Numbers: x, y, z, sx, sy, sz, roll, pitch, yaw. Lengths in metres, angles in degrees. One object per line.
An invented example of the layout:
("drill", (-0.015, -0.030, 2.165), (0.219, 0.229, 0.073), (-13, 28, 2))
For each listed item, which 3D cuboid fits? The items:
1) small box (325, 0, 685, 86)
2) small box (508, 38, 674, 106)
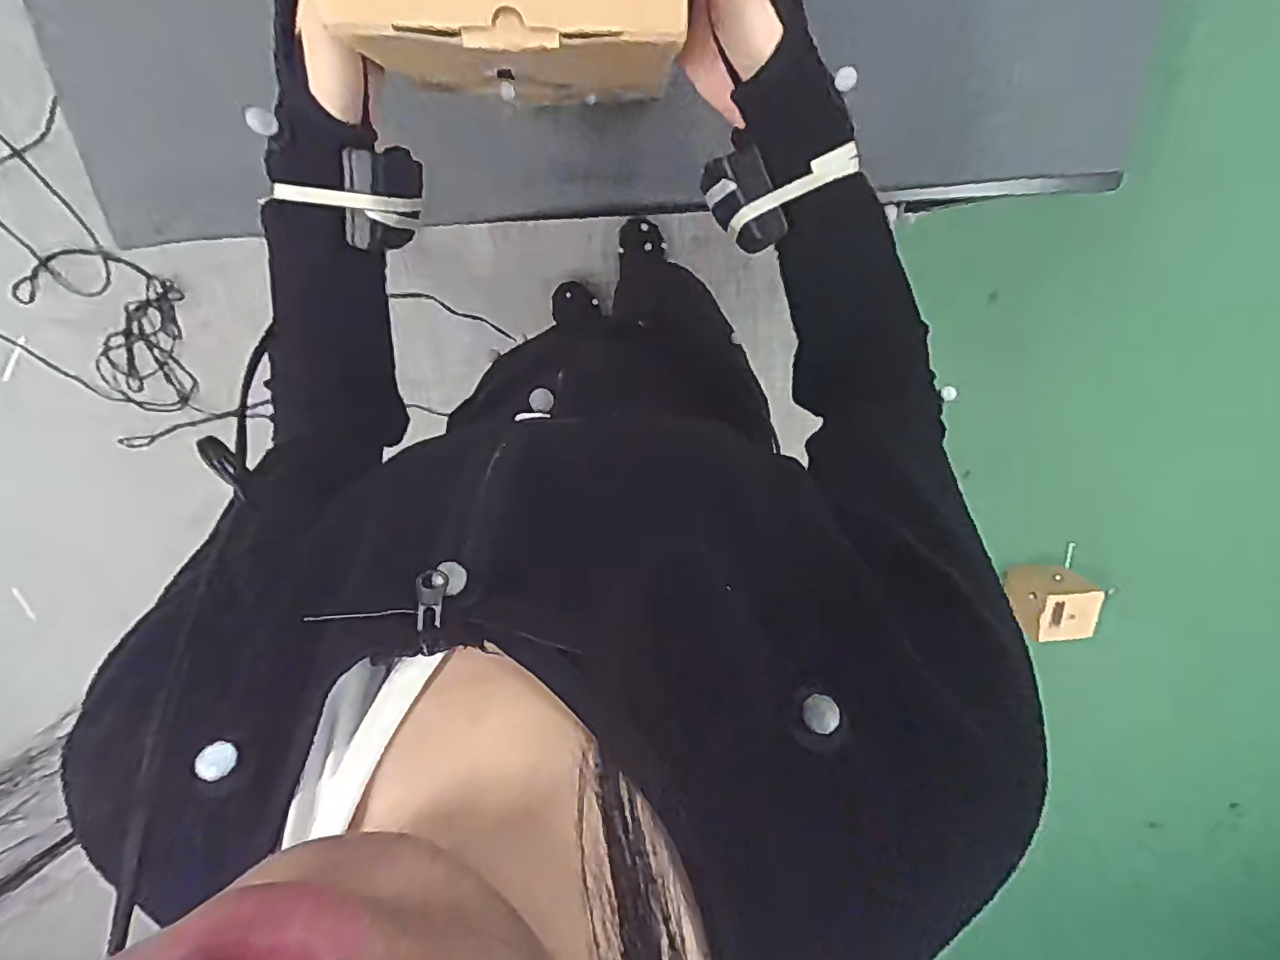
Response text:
("small box", (-0.069, -0.322, 0.272), (0.168, 0.176, 0.179), (-3, 119, -6))
("small box", (-0.061, -0.473, 0.494), (0.168, 0.176, 0.179), (-5, 110, -1))
